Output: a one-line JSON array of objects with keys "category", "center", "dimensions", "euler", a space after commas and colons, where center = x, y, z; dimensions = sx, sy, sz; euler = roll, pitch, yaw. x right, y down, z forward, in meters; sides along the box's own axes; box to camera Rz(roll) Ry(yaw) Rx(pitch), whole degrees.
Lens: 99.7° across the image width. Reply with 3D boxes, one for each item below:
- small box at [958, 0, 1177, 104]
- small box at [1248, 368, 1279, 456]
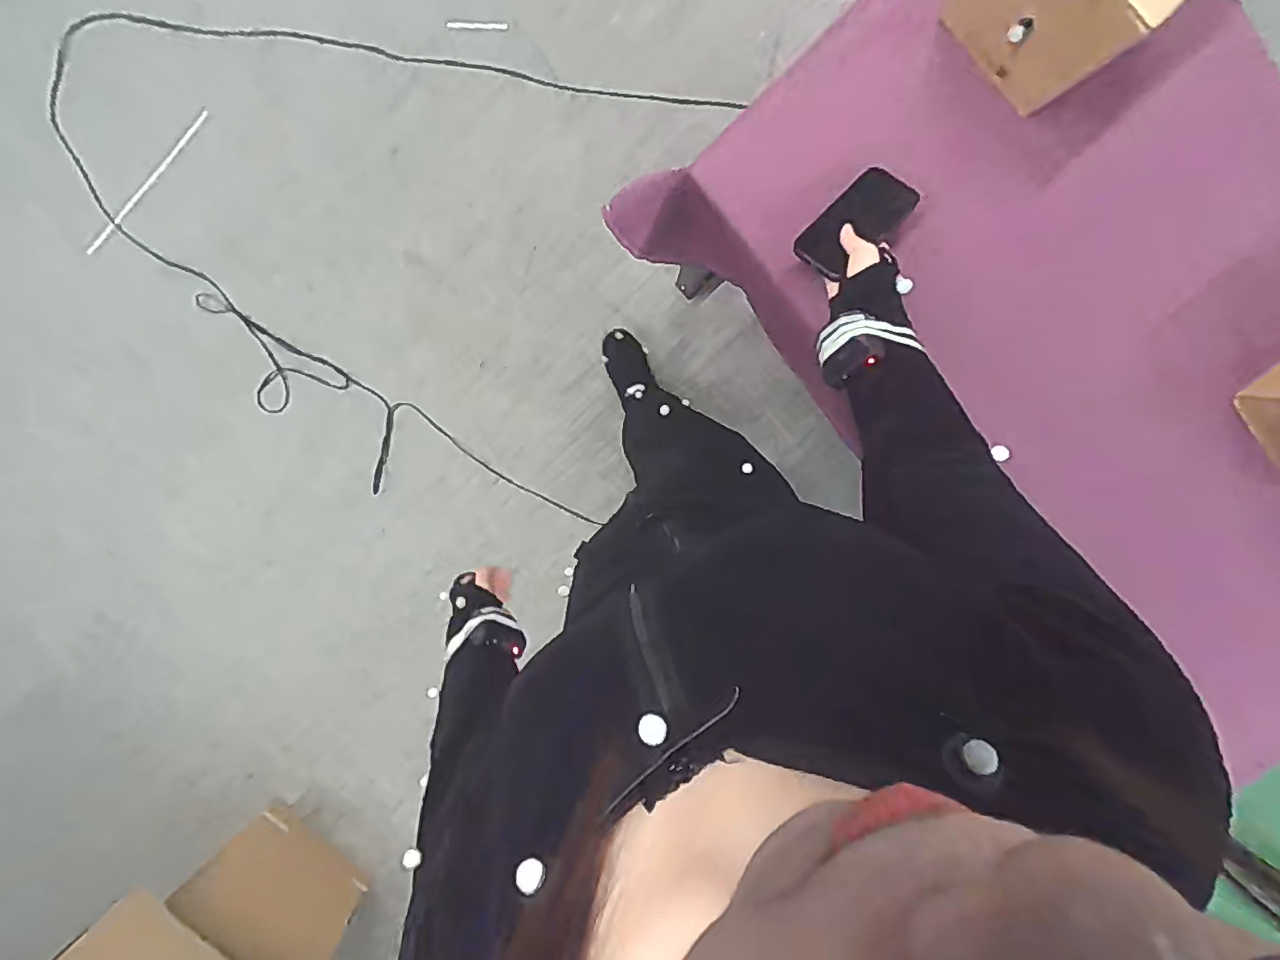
[{"category": "small box", "center": [0.464, -0.539, 0.548], "dimensions": [0.168, 0.176, 0.179], "euler": [43, 99, -7]}, {"category": "small box", "center": [0.898, -0.089, 0.623], "dimensions": [0.179, 0.176, 0.168], "euler": [-40, 97, 8]}]
